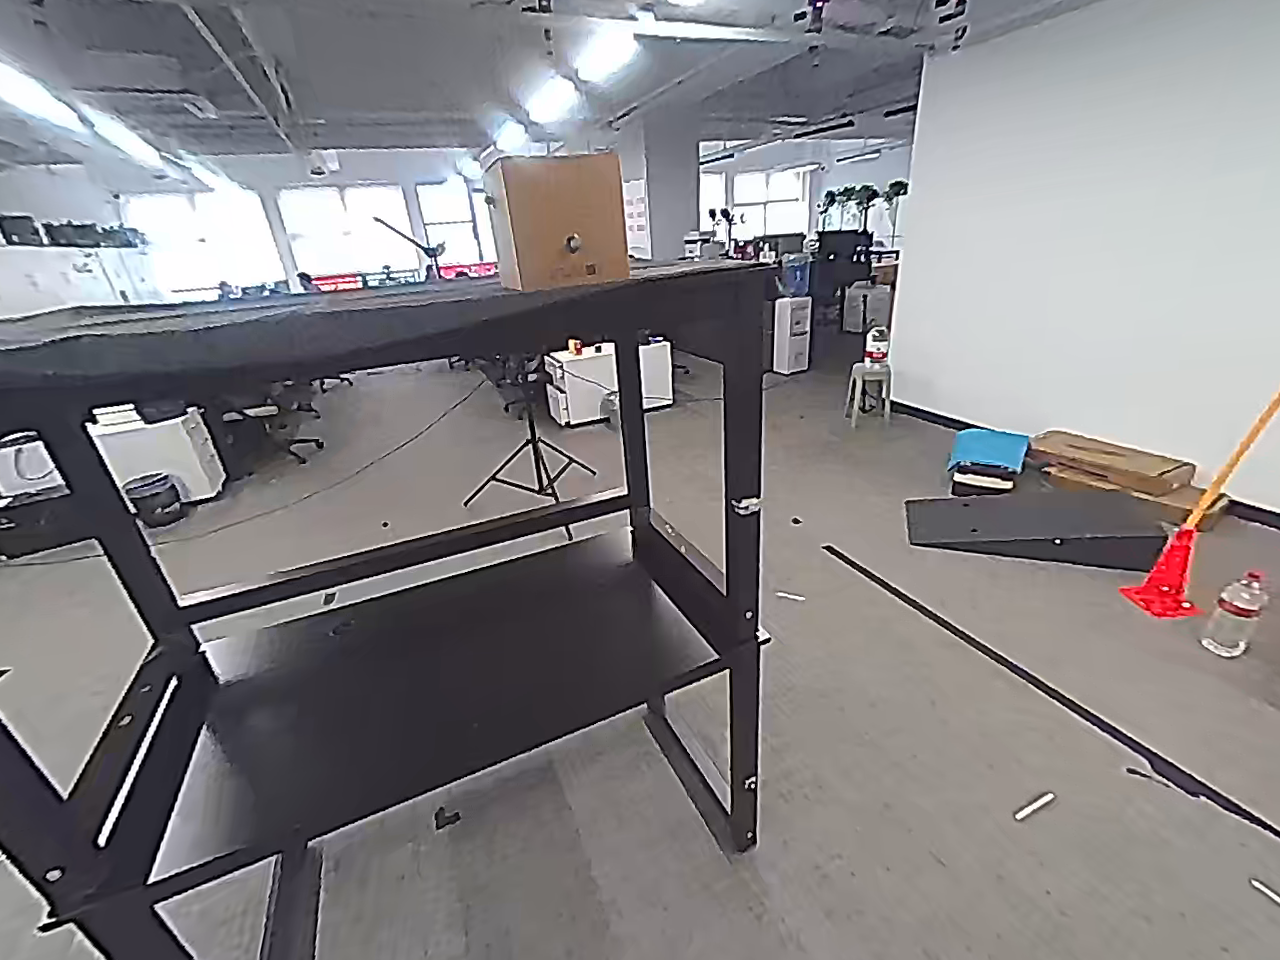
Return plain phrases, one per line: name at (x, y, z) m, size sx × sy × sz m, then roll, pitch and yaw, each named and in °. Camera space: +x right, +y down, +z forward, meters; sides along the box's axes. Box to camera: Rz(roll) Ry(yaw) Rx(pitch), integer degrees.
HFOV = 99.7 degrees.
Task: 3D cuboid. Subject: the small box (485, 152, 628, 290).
small box at (-0.127, -0.385, 0.820) m, size 0.168 × 0.176 × 0.179 m, roll -15°, pitch 26°, yaw -19°
